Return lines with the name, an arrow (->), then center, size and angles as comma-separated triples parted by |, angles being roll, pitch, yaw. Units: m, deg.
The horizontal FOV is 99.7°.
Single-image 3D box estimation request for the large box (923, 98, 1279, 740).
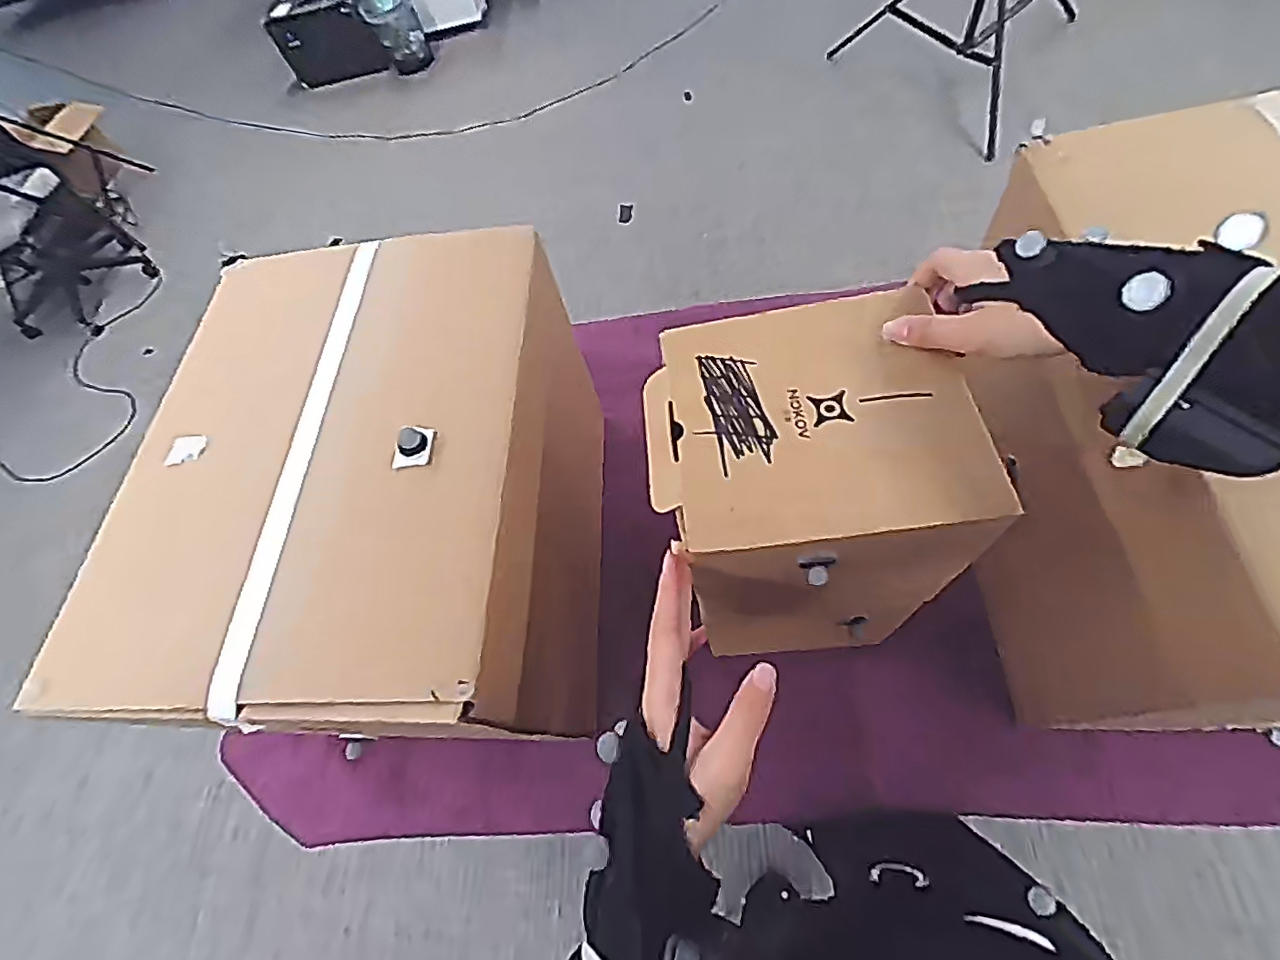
large box -> 0.470, -0.026, 0.431 | 0.320, 0.320, 0.408 | -5, 61, 9
